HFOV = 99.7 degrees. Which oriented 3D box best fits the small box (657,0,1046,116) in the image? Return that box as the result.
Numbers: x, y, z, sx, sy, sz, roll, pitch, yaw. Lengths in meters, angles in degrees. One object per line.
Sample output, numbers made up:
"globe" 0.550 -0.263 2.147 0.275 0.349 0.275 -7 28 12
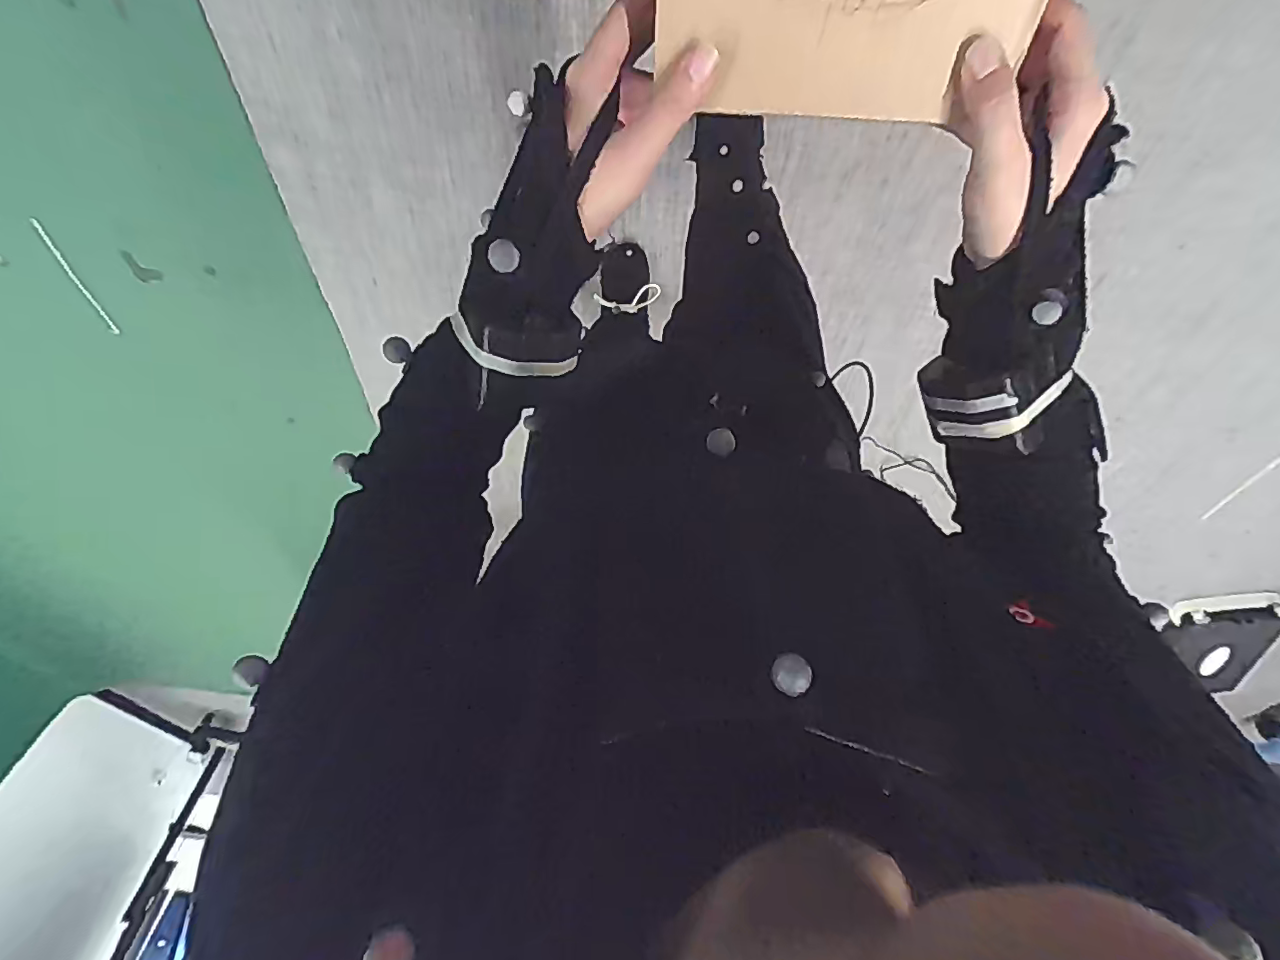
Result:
"small box" 0.099 -0.298 0.256 0.168 0.176 0.179 5 136 4
